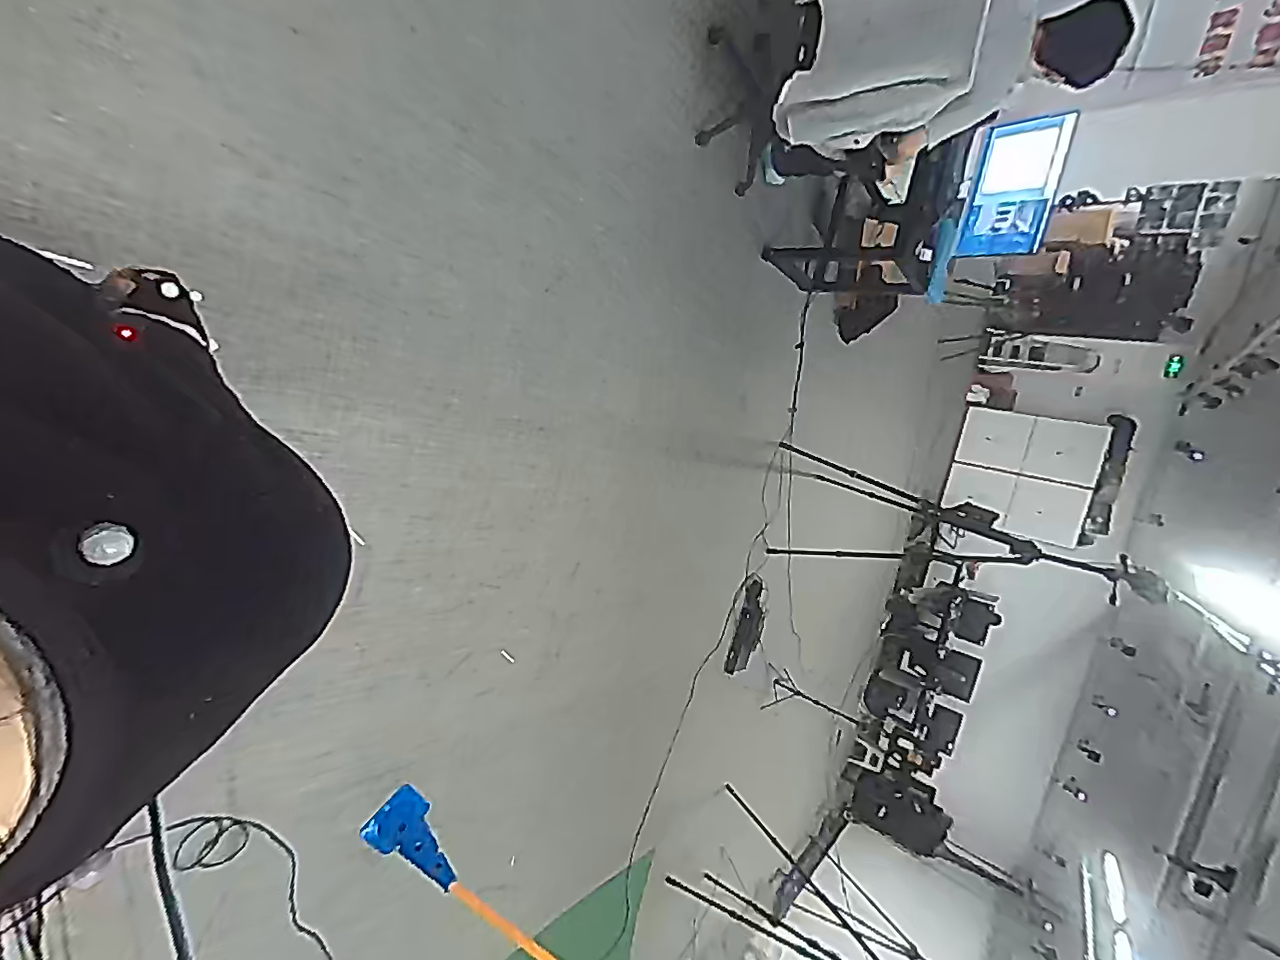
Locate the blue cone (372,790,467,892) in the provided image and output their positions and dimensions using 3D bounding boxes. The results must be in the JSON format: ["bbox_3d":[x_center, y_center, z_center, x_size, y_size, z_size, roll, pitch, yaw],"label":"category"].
[{"bbox_3d":[-0.710,1.247,1.821,0.193,0.380,0.192,-47,135,-33],"label":"blue cone"}]
